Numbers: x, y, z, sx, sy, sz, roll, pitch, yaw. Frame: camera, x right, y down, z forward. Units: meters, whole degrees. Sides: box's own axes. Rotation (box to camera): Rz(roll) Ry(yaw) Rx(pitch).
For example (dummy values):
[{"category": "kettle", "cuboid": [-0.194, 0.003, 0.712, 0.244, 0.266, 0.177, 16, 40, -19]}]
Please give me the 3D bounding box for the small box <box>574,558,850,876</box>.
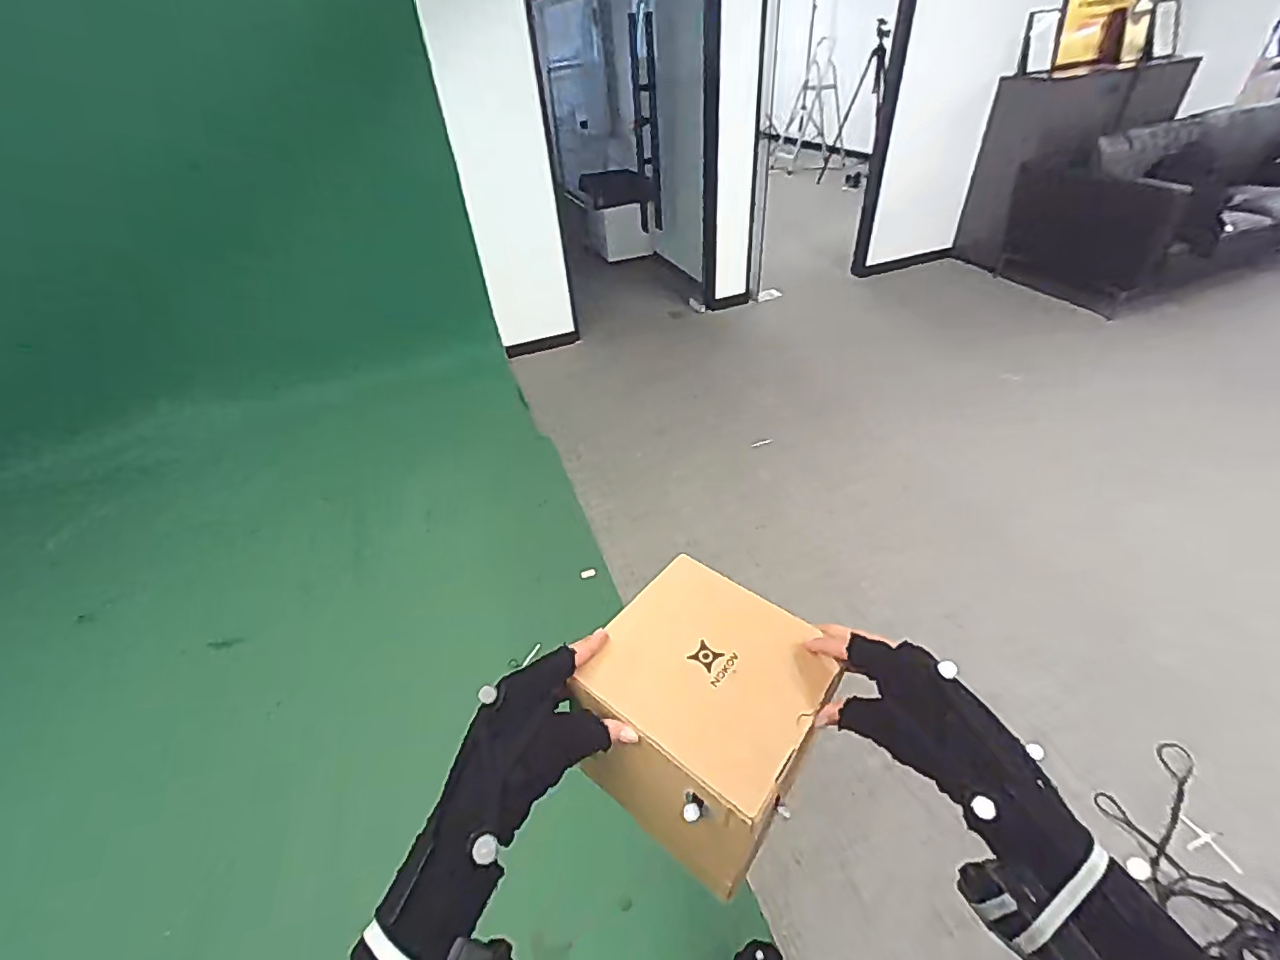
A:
[{"category": "small box", "cuboid": [0.059, 0.211, 0.497, 0.179, 0.176, 0.168, 27, 45, 29]}]
